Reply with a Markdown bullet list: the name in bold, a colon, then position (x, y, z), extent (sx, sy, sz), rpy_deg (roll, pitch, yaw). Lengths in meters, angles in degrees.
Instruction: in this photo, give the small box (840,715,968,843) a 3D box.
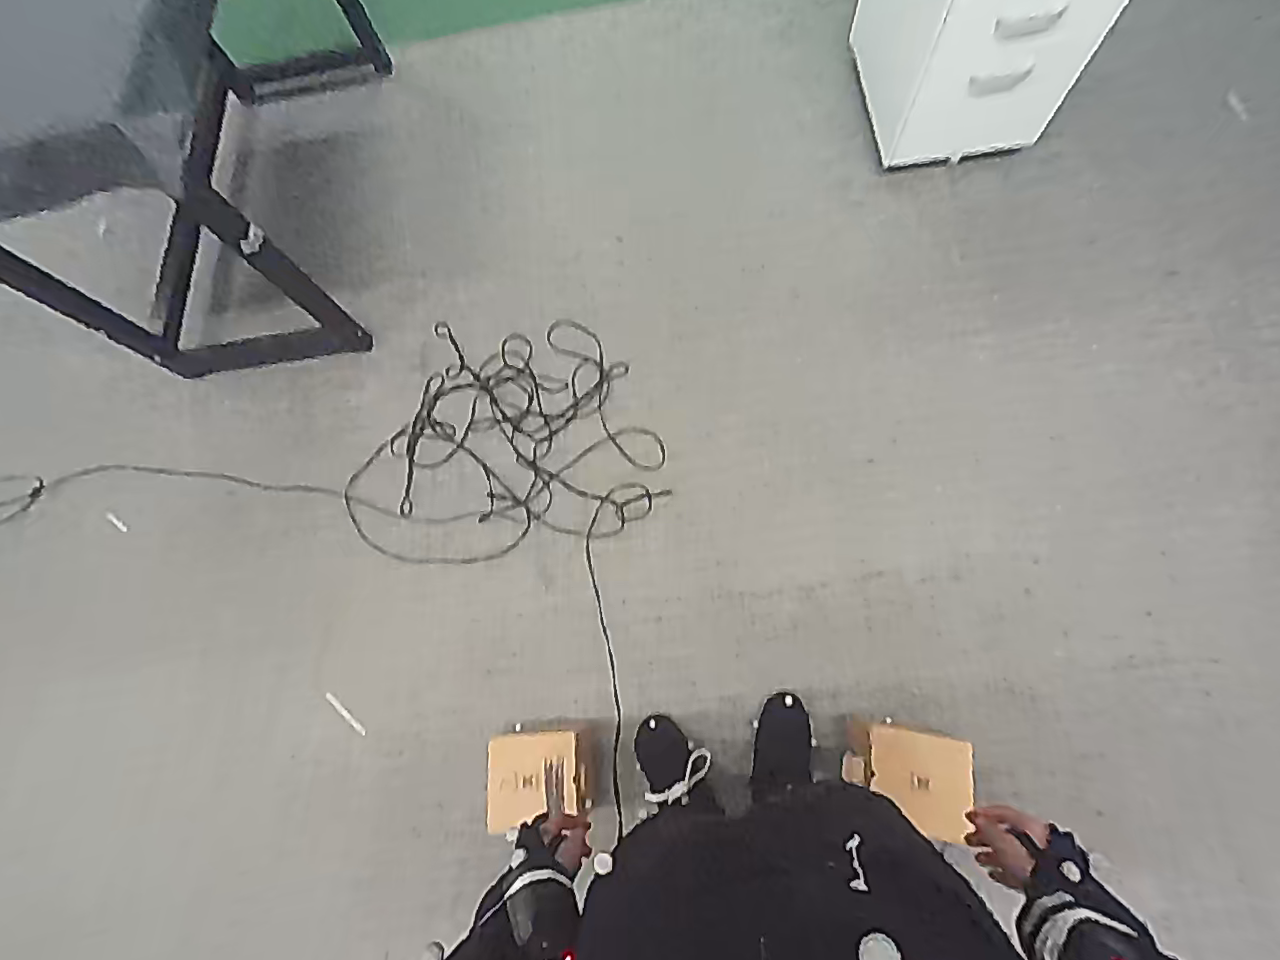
- **small box**: position (0.496, 0.557, 1.032), extent (0.179, 0.176, 0.168), rpy_deg (7, 75, 9)
